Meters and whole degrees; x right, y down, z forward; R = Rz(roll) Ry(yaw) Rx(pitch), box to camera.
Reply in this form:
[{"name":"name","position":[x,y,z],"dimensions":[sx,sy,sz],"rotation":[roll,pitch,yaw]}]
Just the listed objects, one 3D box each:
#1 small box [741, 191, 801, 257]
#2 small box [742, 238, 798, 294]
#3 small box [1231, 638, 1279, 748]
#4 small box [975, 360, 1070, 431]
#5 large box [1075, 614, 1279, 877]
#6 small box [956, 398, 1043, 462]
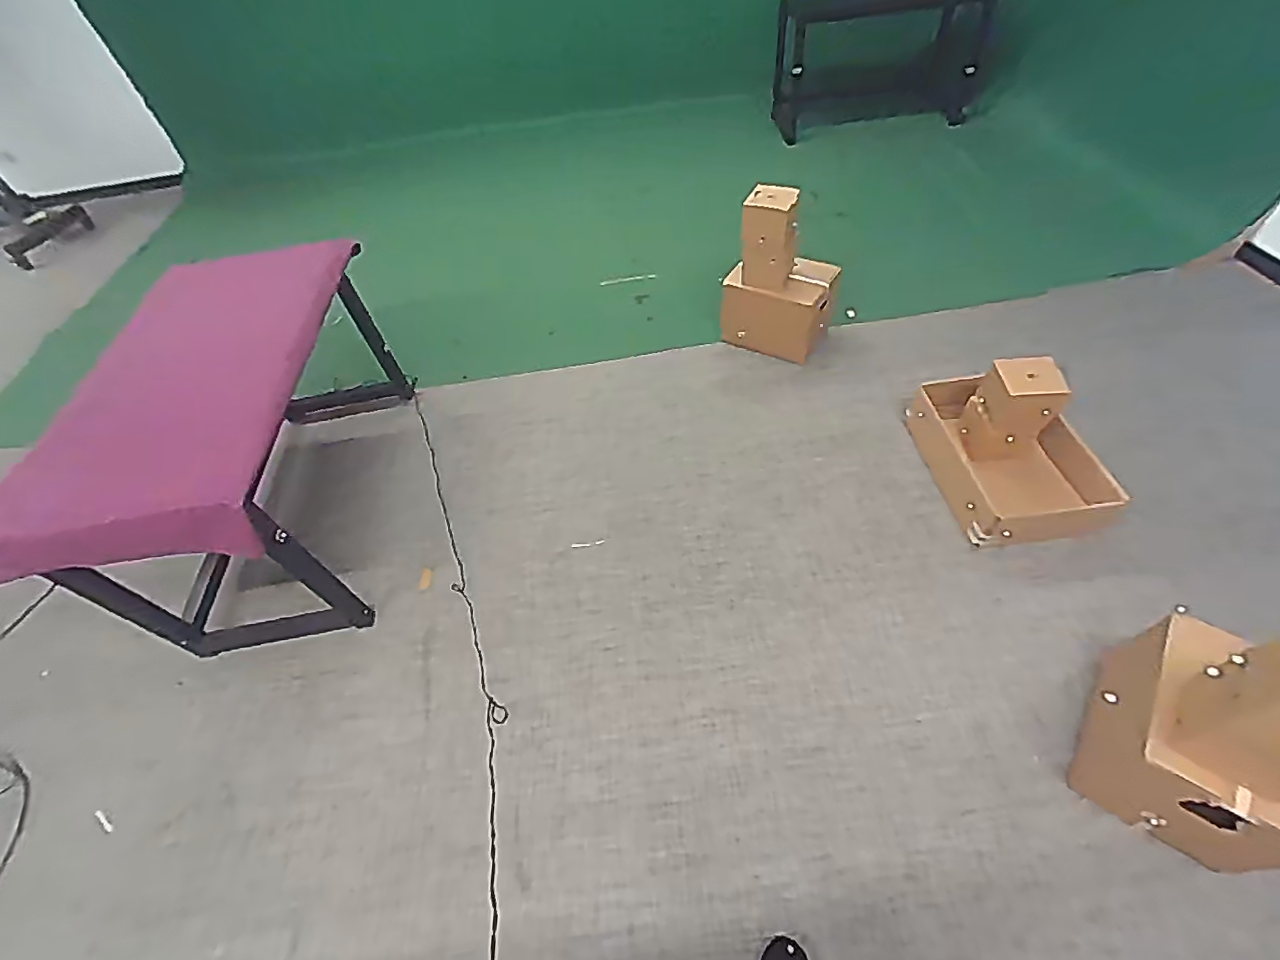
[{"name":"small box","position":[0.509,-0.999,2.114],"dimensions":[0.179,0.176,0.168],"rotation":[20,57,20]},{"name":"small box","position":[0.535,-0.894,2.238],"dimensions":[0.179,0.176,0.168],"rotation":[19,56,20]},{"name":"small box","position":[1.174,0.381,0.916],"dimensions":[0.179,0.176,0.168],"rotation":[29,60,26]},{"name":"small box","position":[1.247,-0.274,1.776],"dimensions":[0.179,0.176,0.168],"rotation":[-2,54,7]},{"name":"large box","position":[1.289,0.605,1.250],"dimensions":[0.320,0.320,0.408],"rotation":[28,58,25]},{"name":"small box","position":[1.259,-0.178,1.908],"dimensions":[0.179,0.176,0.168],"rotation":[-5,54,5]}]
